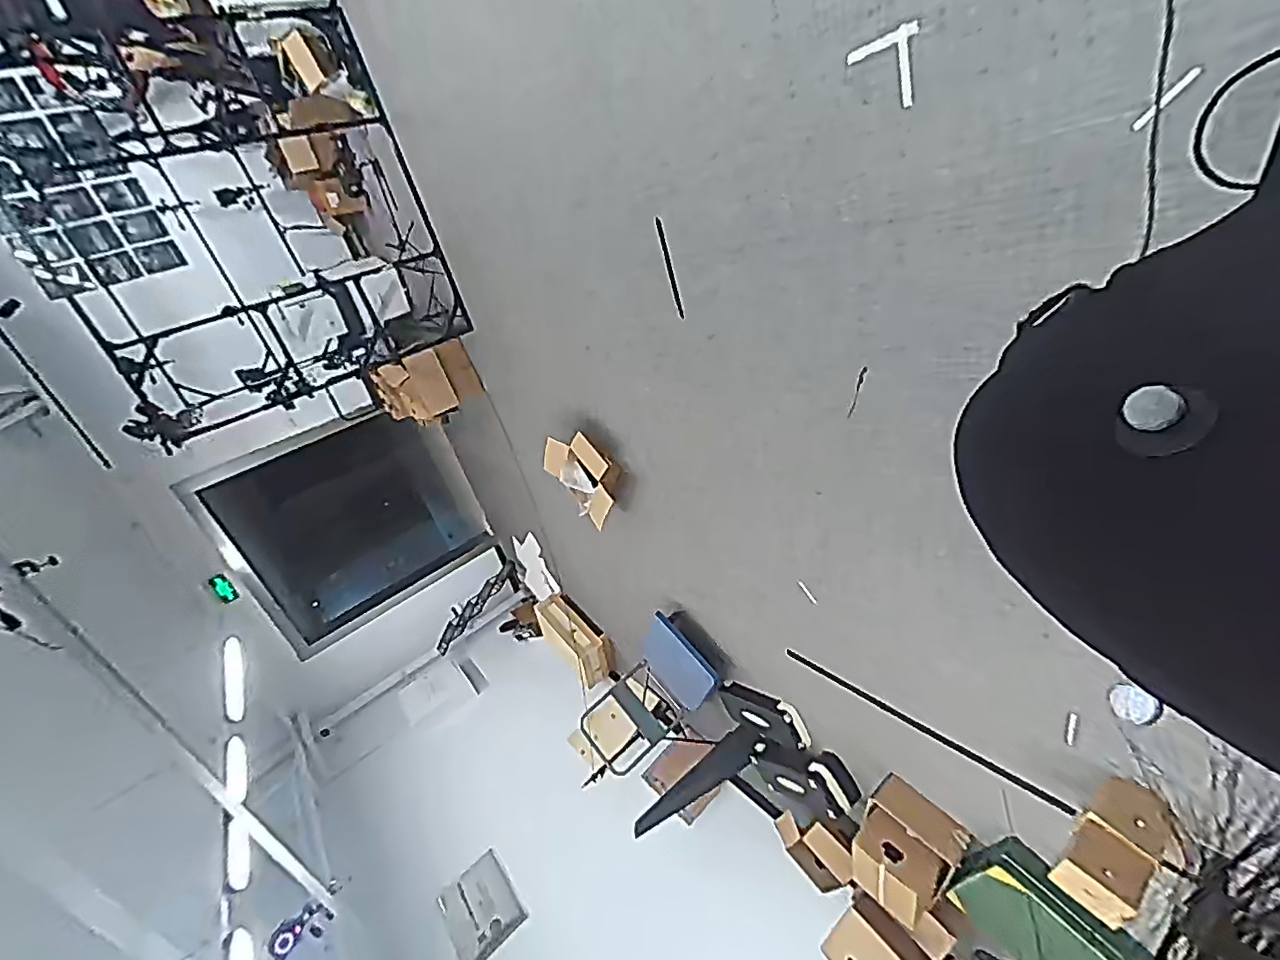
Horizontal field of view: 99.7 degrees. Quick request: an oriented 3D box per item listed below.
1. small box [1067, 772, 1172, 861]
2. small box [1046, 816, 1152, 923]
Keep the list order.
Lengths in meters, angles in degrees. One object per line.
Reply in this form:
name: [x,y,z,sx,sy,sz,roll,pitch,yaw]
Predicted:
small box: [1.500,1.065,1.691,0.179,0.176,0.168,36,147,40]
small box: [1.383,1.167,1.629,0.179,0.176,0.168,34,145,41]
